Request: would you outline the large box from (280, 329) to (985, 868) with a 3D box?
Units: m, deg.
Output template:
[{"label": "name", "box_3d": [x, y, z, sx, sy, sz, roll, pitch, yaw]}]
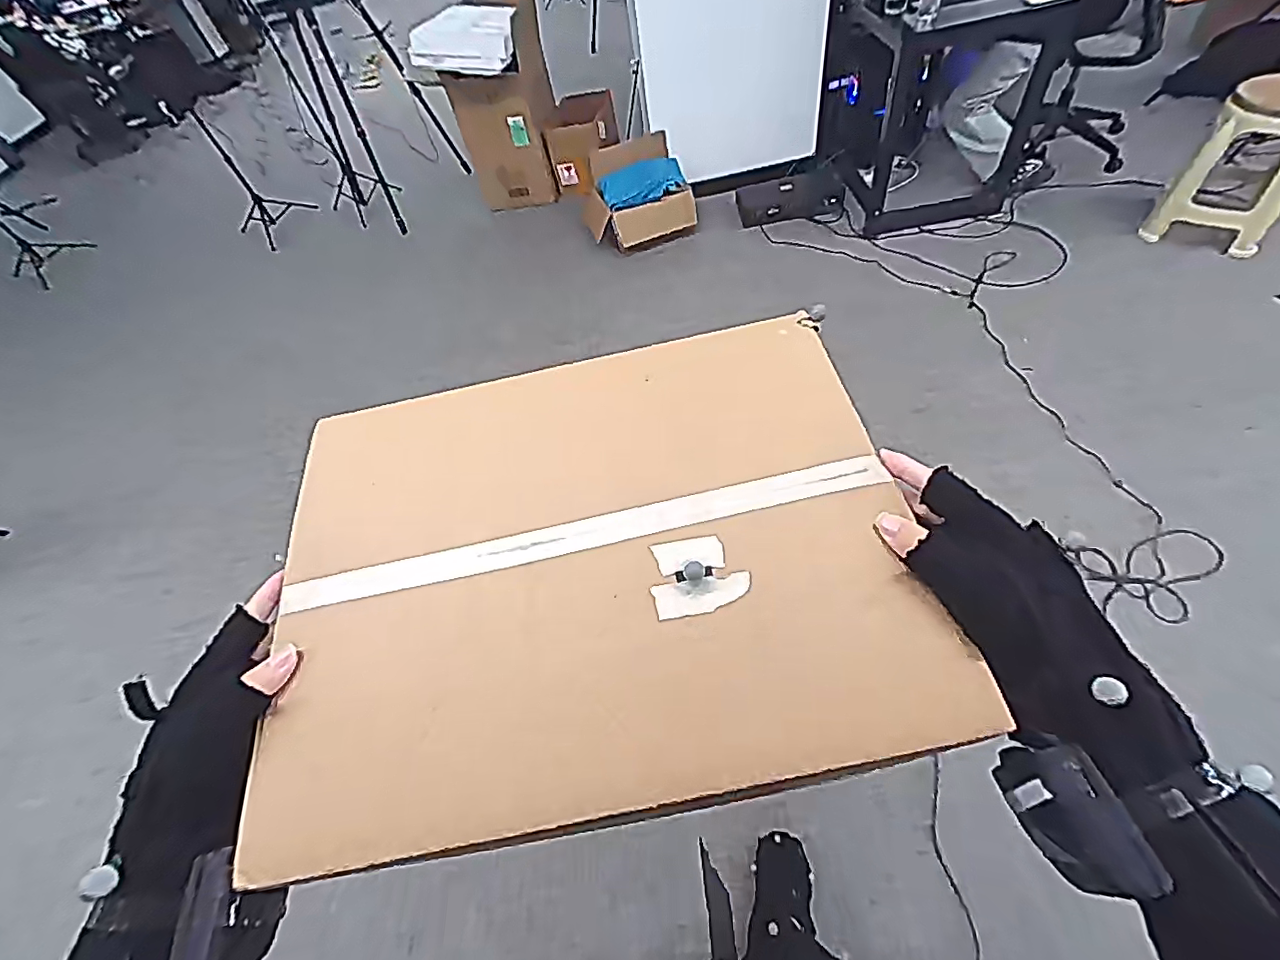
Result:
[{"label": "large box", "box_3d": [-0.014, 0.119, 0.497, 0.408, 0.320, 0.320, -12, 58, 0]}]
